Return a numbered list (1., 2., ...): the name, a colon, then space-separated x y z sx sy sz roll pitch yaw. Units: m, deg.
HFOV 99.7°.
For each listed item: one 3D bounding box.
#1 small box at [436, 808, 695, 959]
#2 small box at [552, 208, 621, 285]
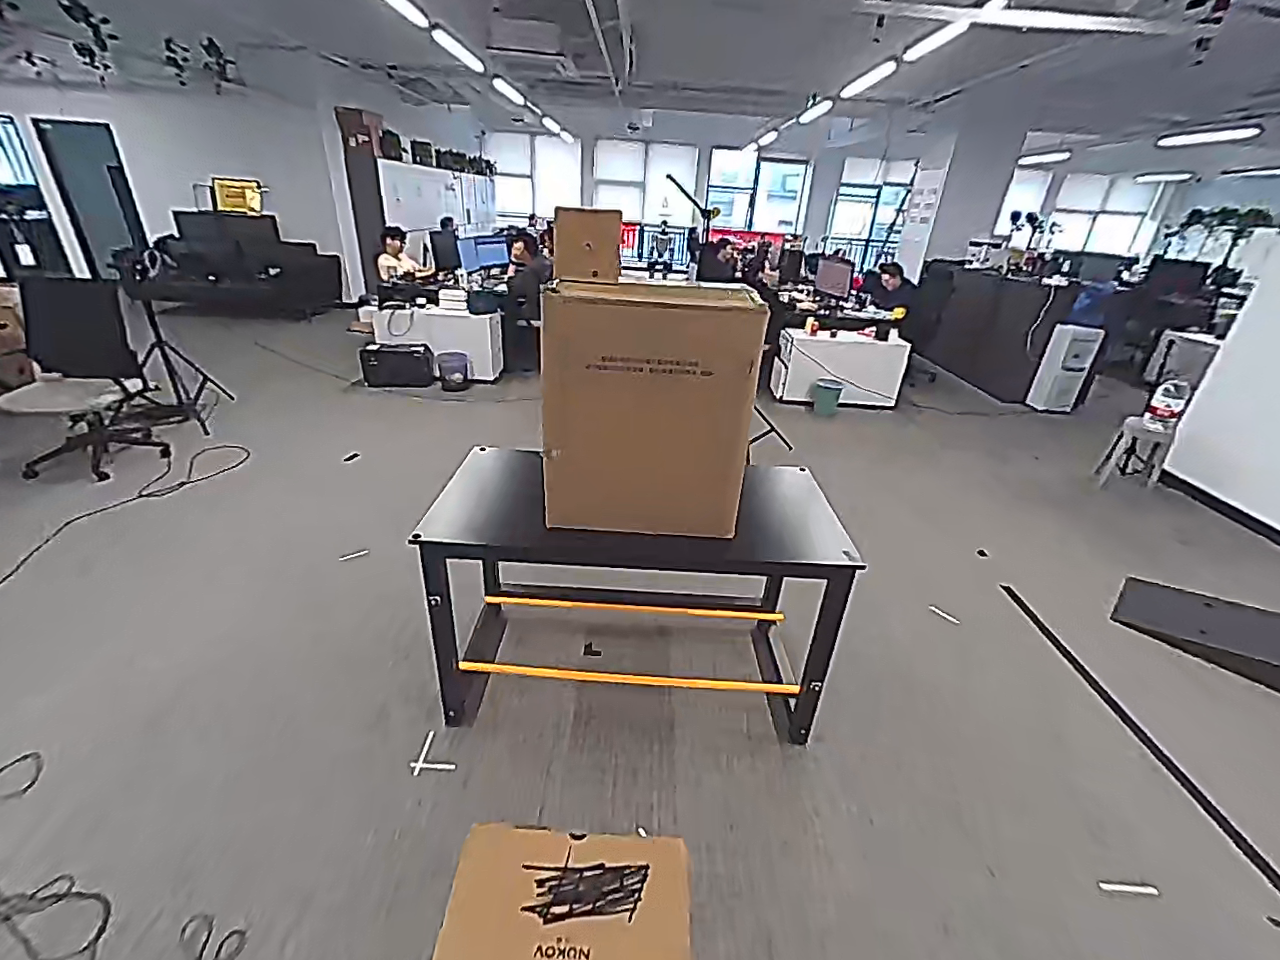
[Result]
1. small box: -0.053 0.372 0.380 0.168 0.176 0.179 4 27 -1
2. small box: -0.134 -0.601 1.393 0.168 0.176 0.179 2 26 -4
